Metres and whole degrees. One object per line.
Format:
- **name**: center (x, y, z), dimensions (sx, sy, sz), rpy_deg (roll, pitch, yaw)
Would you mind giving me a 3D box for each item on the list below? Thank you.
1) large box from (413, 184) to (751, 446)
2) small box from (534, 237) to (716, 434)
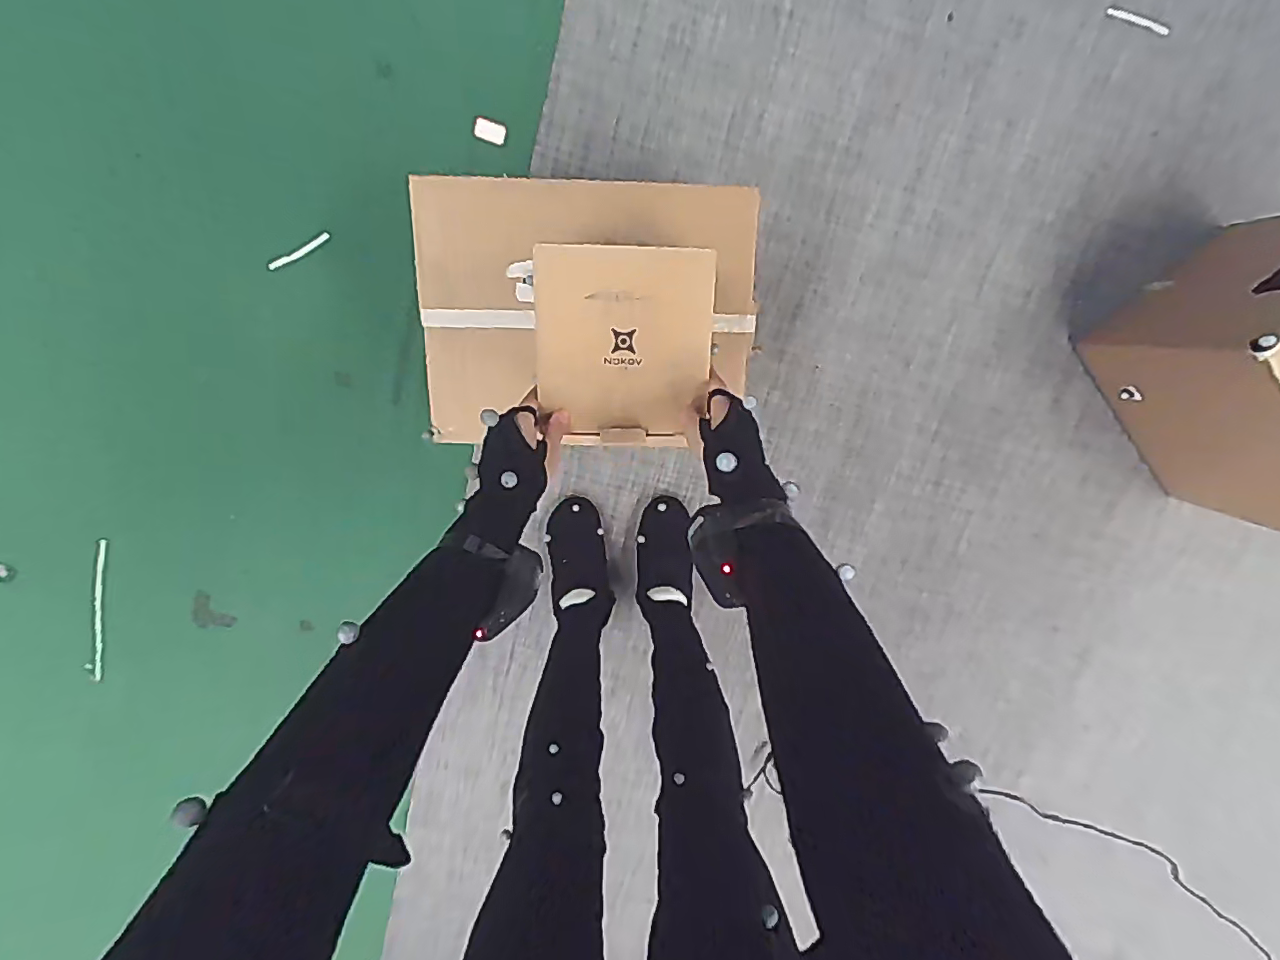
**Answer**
- **large box**: center (-0.067, -0.236, 0.811), dimensions (0.408, 0.320, 0.320), rpy_deg (1, 105, -1)
- **small box**: center (-0.018, -0.154, 0.580), dimensions (0.168, 0.176, 0.179), rpy_deg (1, 107, -2)
